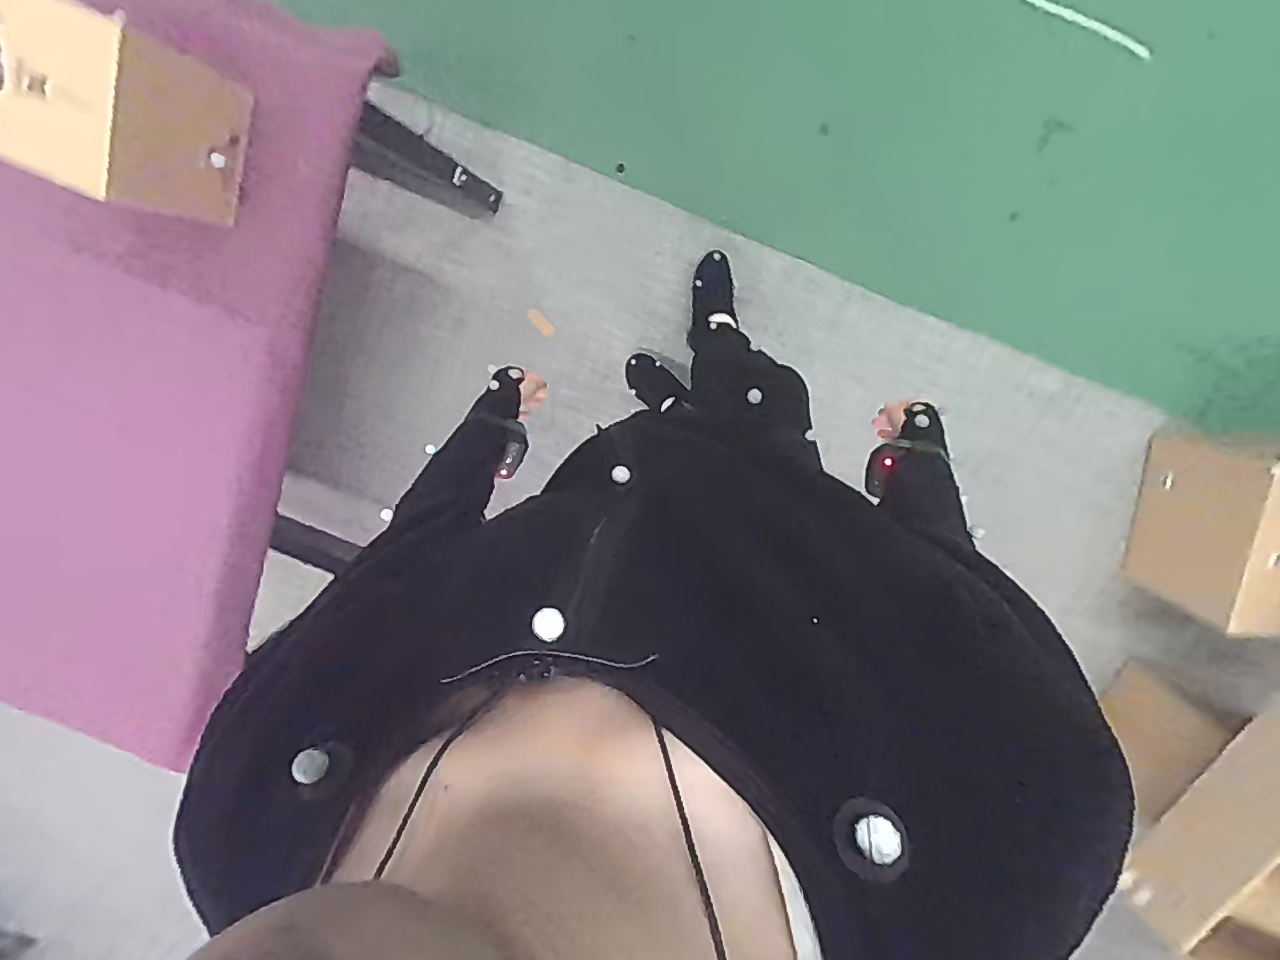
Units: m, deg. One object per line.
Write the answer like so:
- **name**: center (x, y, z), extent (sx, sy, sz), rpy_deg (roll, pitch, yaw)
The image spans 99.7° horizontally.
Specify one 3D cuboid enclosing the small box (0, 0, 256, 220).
- **small box**: center (-0.589, -0.416, 0.610), extent (0.179, 0.176, 0.168), rpy_deg (23, 107, -1)
